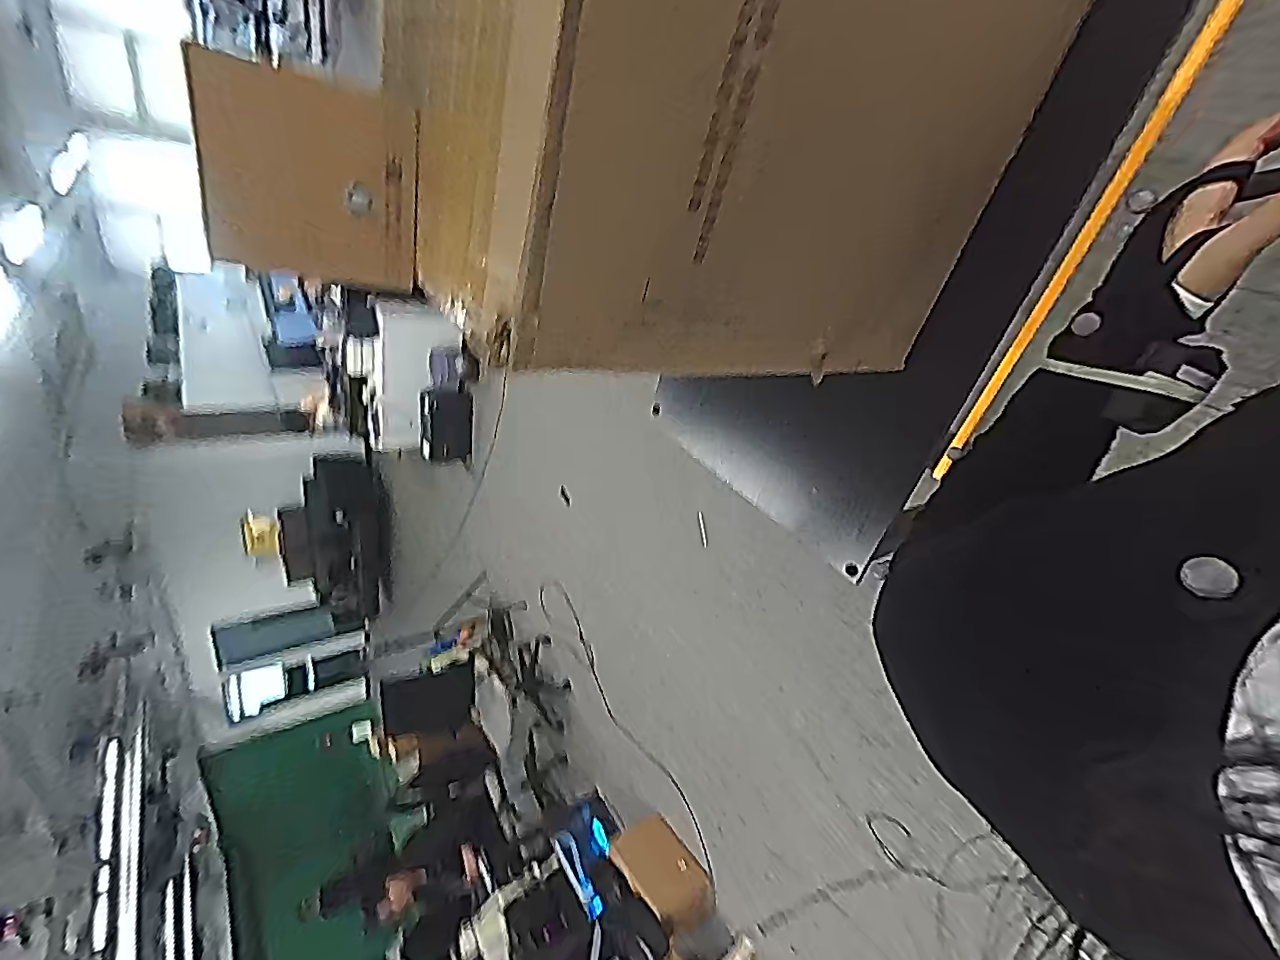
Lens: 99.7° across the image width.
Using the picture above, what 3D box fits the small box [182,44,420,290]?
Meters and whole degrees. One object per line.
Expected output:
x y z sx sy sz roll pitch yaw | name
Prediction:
-0.331 -0.293 0.535 0.179 0.176 0.168 37 125 44 | small box
